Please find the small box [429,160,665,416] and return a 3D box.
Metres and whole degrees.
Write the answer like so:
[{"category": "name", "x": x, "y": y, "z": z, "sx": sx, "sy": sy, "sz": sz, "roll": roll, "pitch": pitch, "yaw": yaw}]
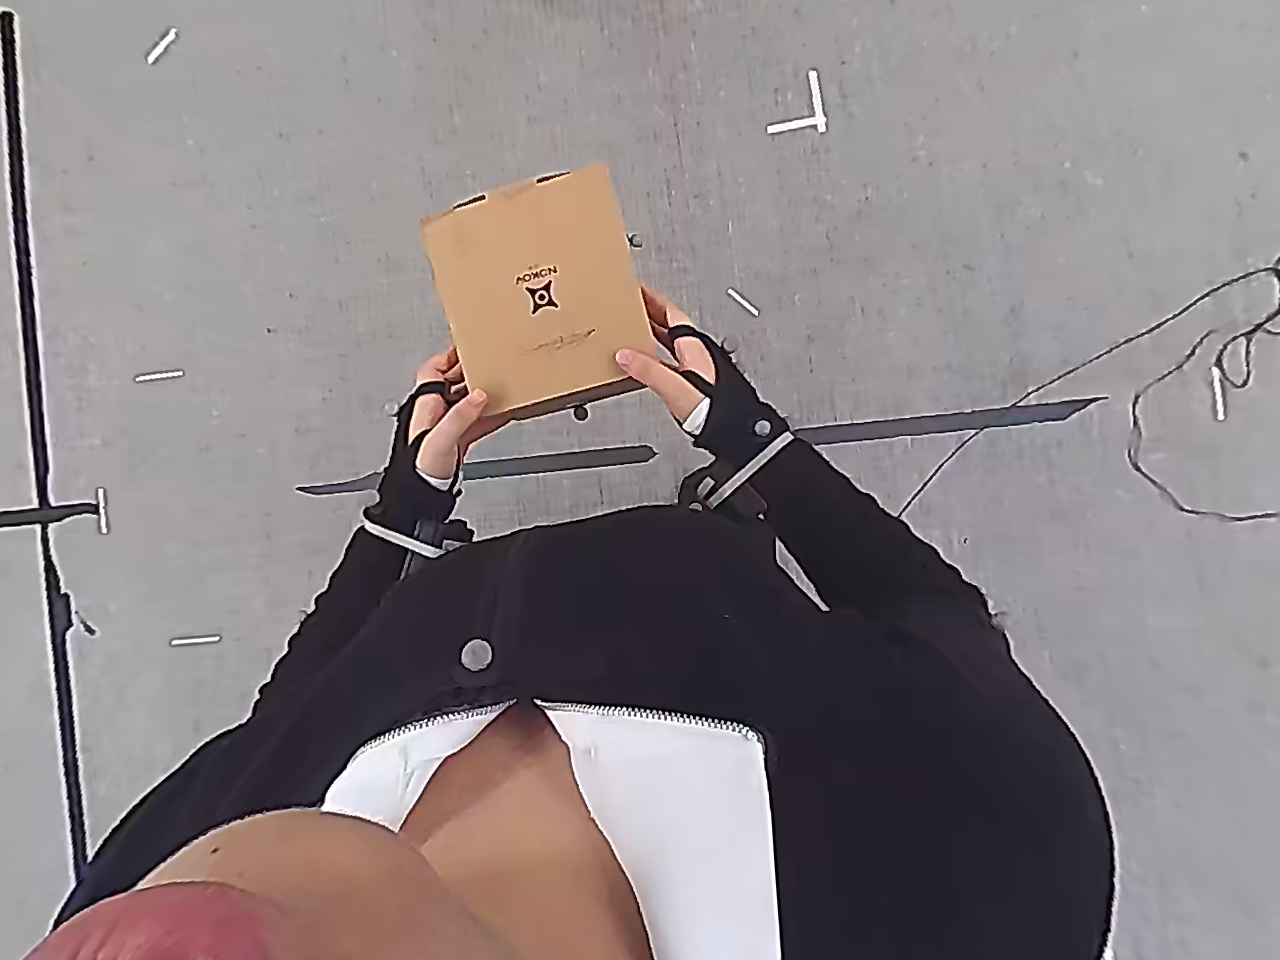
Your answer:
[{"category": "small box", "x": -0.076, "y": -0.167, "z": 0.530, "sx": 0.168, "sy": 0.176, "sz": 0.179, "roll": -14, "pitch": 95, "yaw": 4}]
